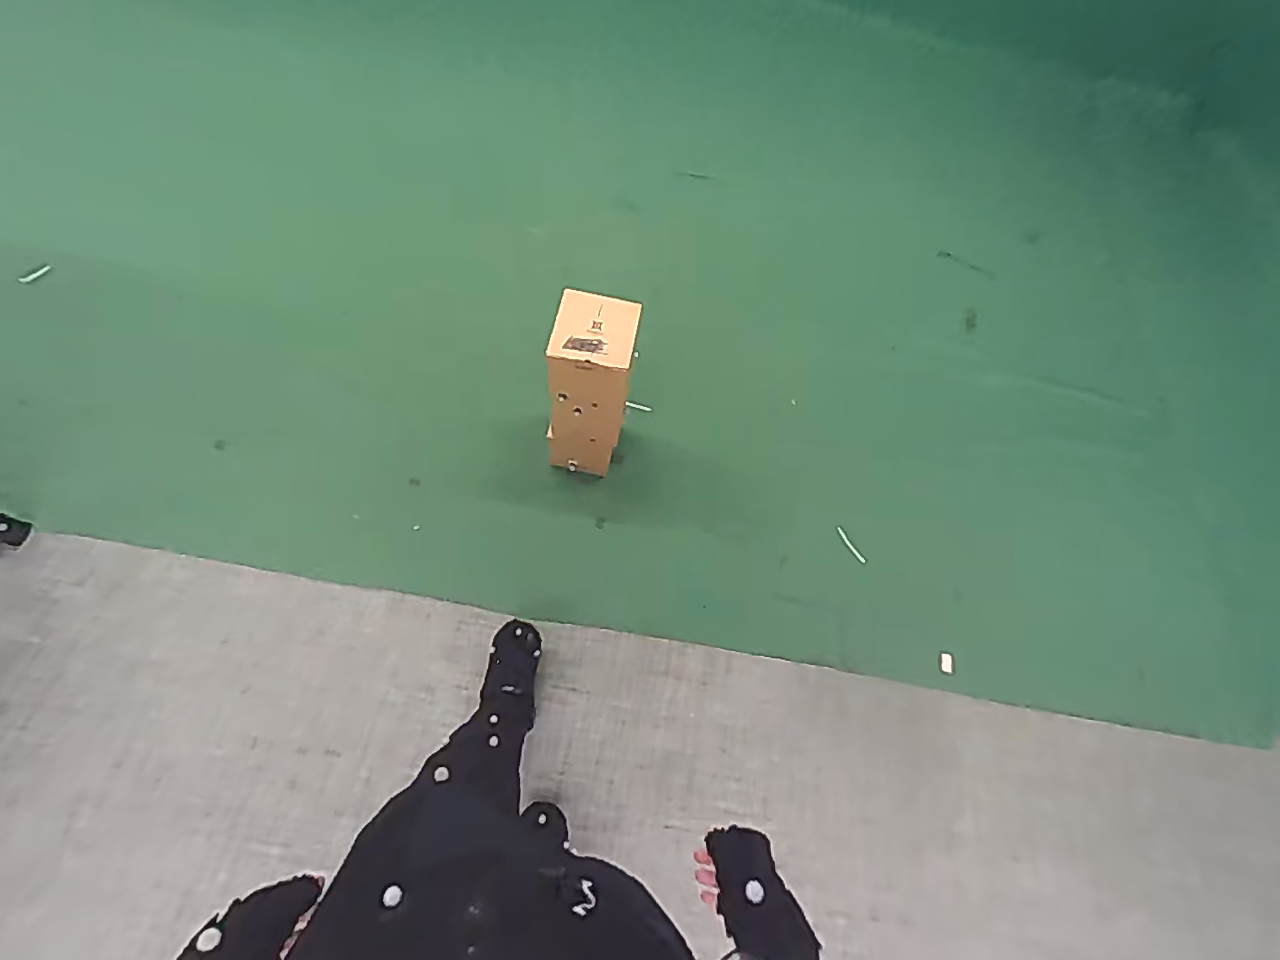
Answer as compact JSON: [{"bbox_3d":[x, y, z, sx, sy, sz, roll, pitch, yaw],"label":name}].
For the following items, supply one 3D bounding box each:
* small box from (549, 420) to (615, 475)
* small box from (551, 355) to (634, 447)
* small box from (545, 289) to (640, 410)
[{"bbox_3d":[-0.146,-0.137,1.461,0.168,0.176,0.179,11,67,-2],"label":"small box"},{"bbox_3d":[-0.117,-0.207,1.315,0.168,0.176,0.179,11,64,-2],"label":"small box"},{"bbox_3d":[-0.100,-0.273,1.166,0.168,0.176,0.179,11,64,-2],"label":"small box"}]
